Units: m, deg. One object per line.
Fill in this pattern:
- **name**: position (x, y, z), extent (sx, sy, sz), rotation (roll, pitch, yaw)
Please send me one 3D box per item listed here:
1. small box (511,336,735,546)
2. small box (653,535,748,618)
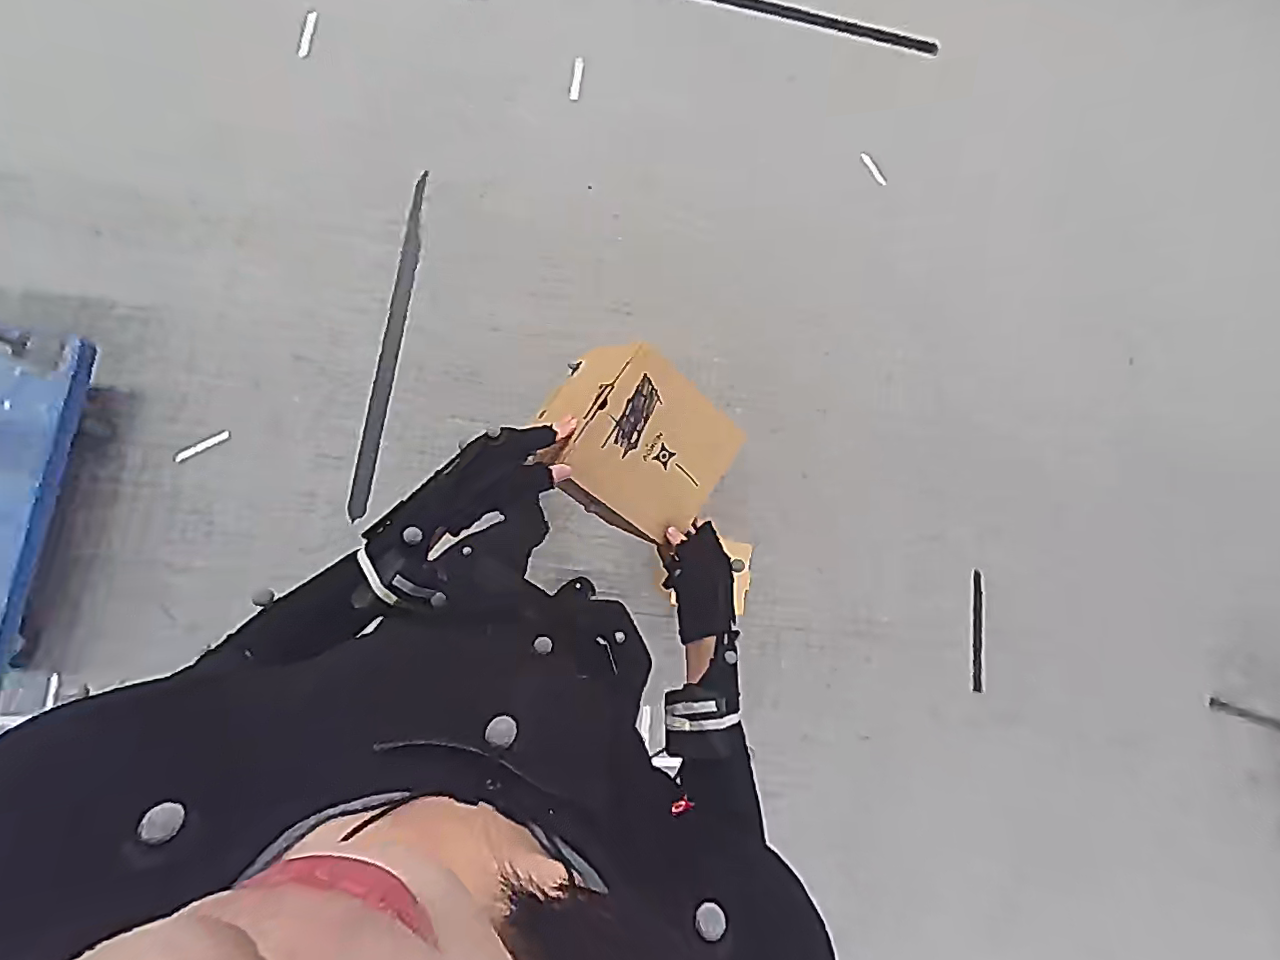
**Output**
- **small box**: position (-0.028, -0.045, 0.652), extent (0.179, 0.176, 0.168), rotation (38, 78, -28)
- **small box**: position (0.143, 0.231, 1.317), extent (0.179, 0.176, 0.168), rotation (12, 81, -8)
